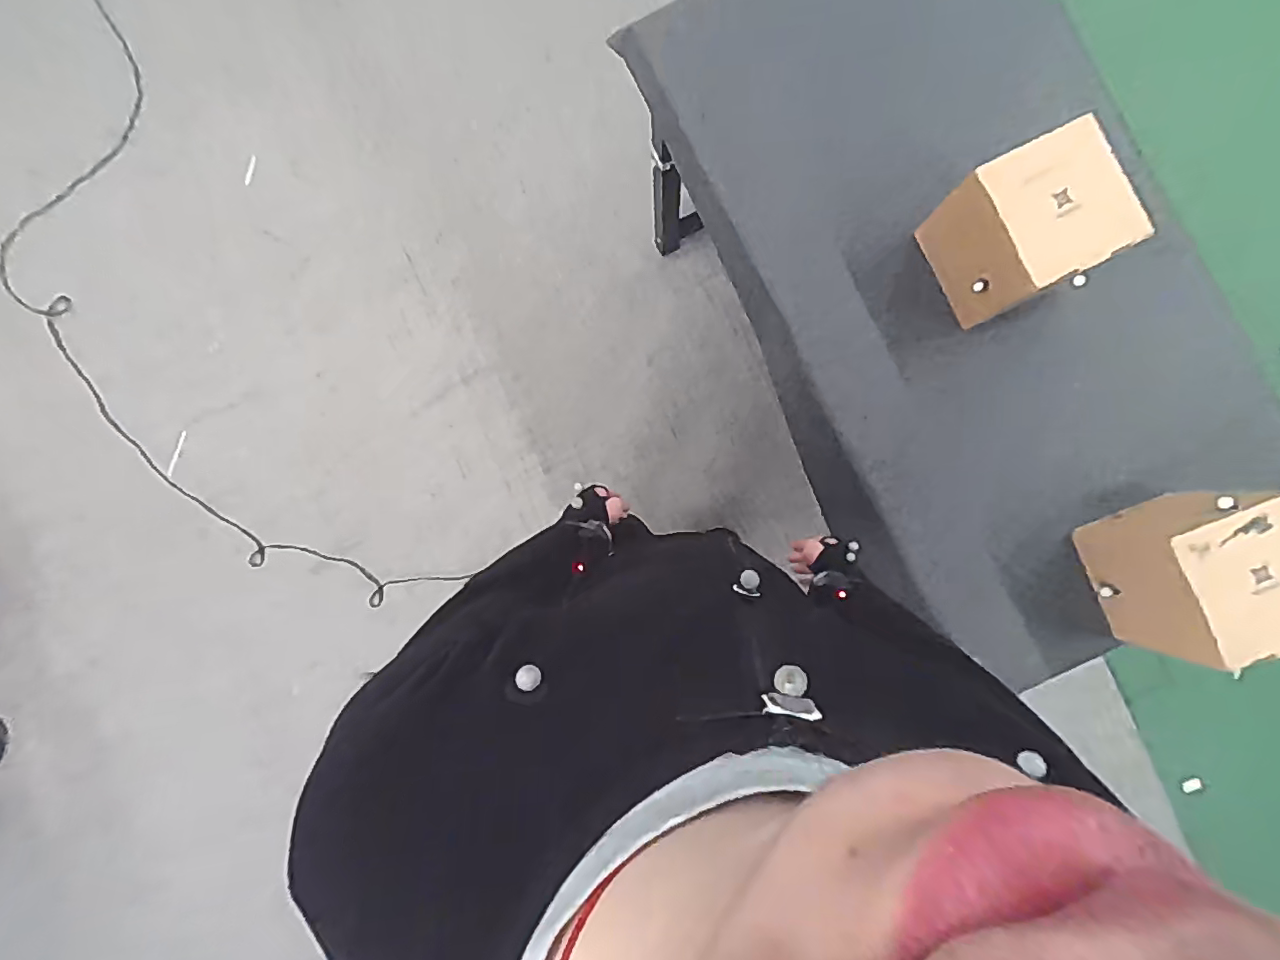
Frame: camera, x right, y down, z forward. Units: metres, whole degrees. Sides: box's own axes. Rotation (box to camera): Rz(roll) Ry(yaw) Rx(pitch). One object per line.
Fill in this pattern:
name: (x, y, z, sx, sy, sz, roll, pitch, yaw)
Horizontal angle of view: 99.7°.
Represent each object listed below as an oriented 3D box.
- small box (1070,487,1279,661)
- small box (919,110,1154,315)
small box: (0.757, 0.116, 0.746, 0.168, 0.176, 0.179, -22, 89, 1)
small box: (0.535, -0.352, 0.757, 0.168, 0.176, 0.179, -26, 88, 0)
